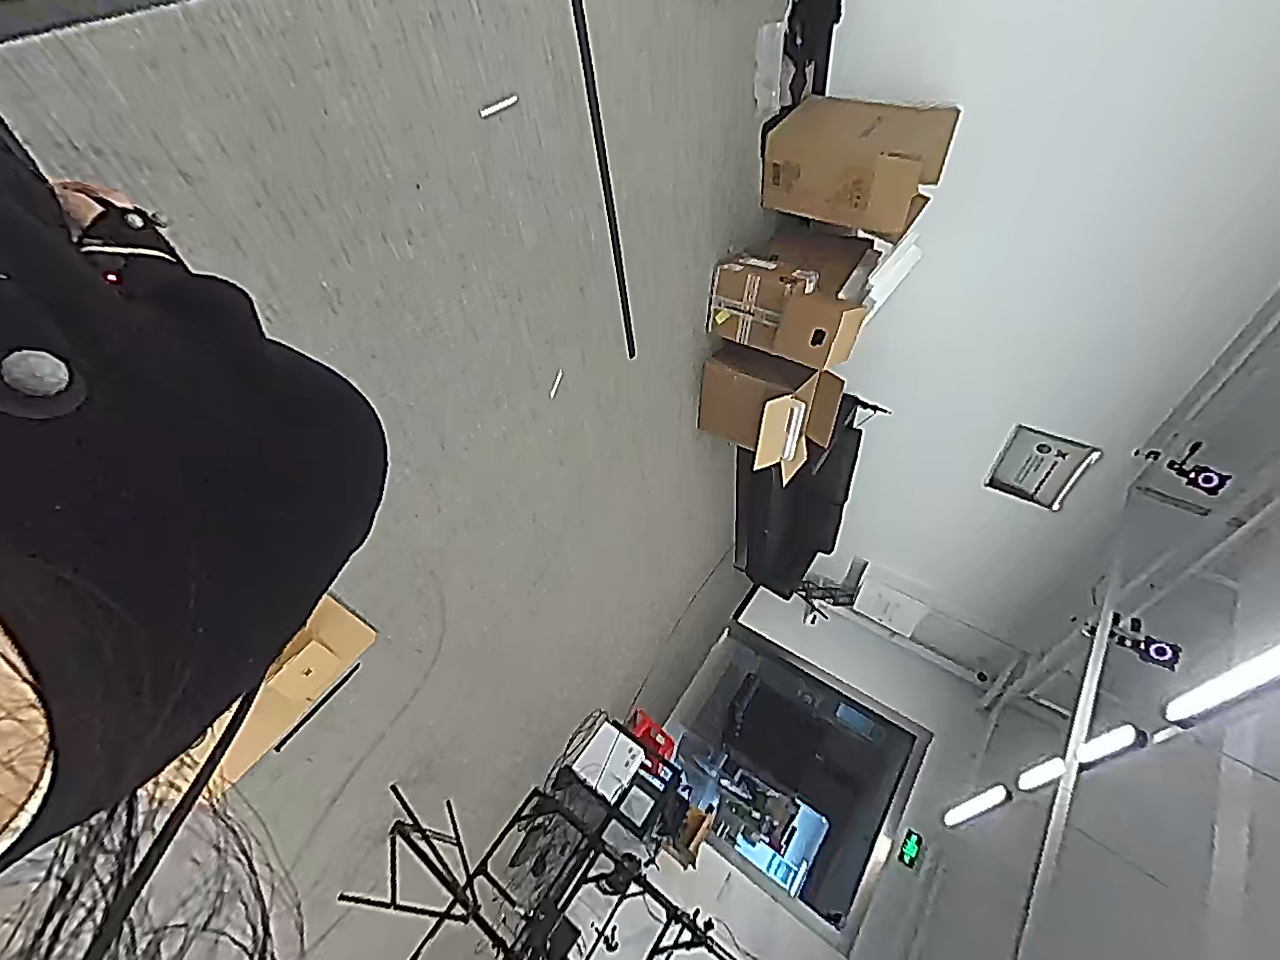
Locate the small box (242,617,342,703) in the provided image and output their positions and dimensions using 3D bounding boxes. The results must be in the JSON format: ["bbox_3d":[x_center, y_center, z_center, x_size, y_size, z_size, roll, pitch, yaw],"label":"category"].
[{"bbox_3d":[-1.087,0.555,1.686,0.168,0.176,0.179,-48,150,-26],"label":"small box"}]
